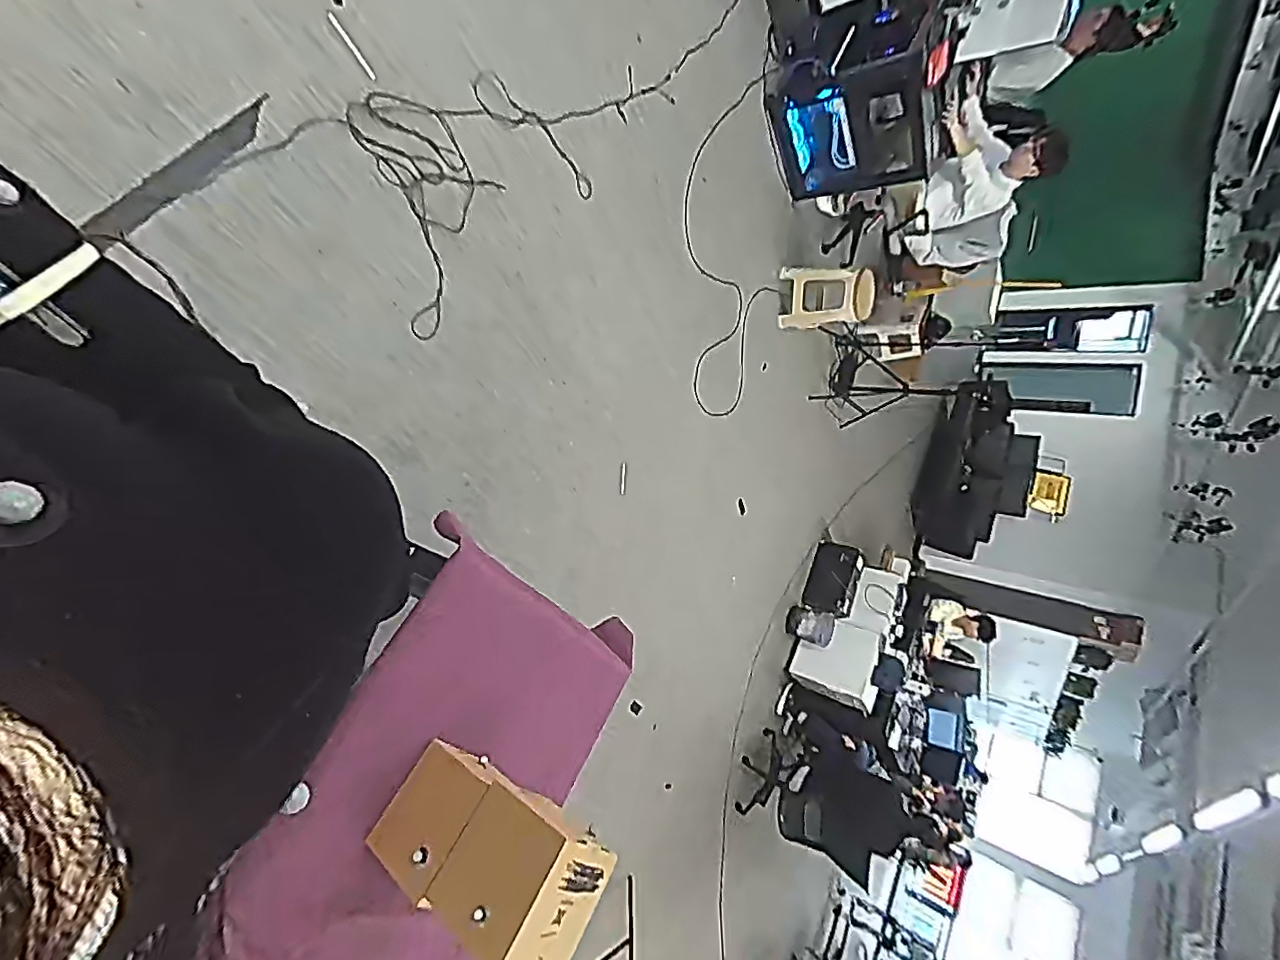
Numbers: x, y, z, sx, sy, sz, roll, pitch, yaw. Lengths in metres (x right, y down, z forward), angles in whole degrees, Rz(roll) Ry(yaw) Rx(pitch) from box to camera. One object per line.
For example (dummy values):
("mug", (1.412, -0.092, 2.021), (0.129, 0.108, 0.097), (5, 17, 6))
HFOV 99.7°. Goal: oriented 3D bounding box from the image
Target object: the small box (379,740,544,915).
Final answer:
("small box", (-0.304, 0.578, 0.909), (0.179, 0.176, 0.168), (-58, 138, -25))
